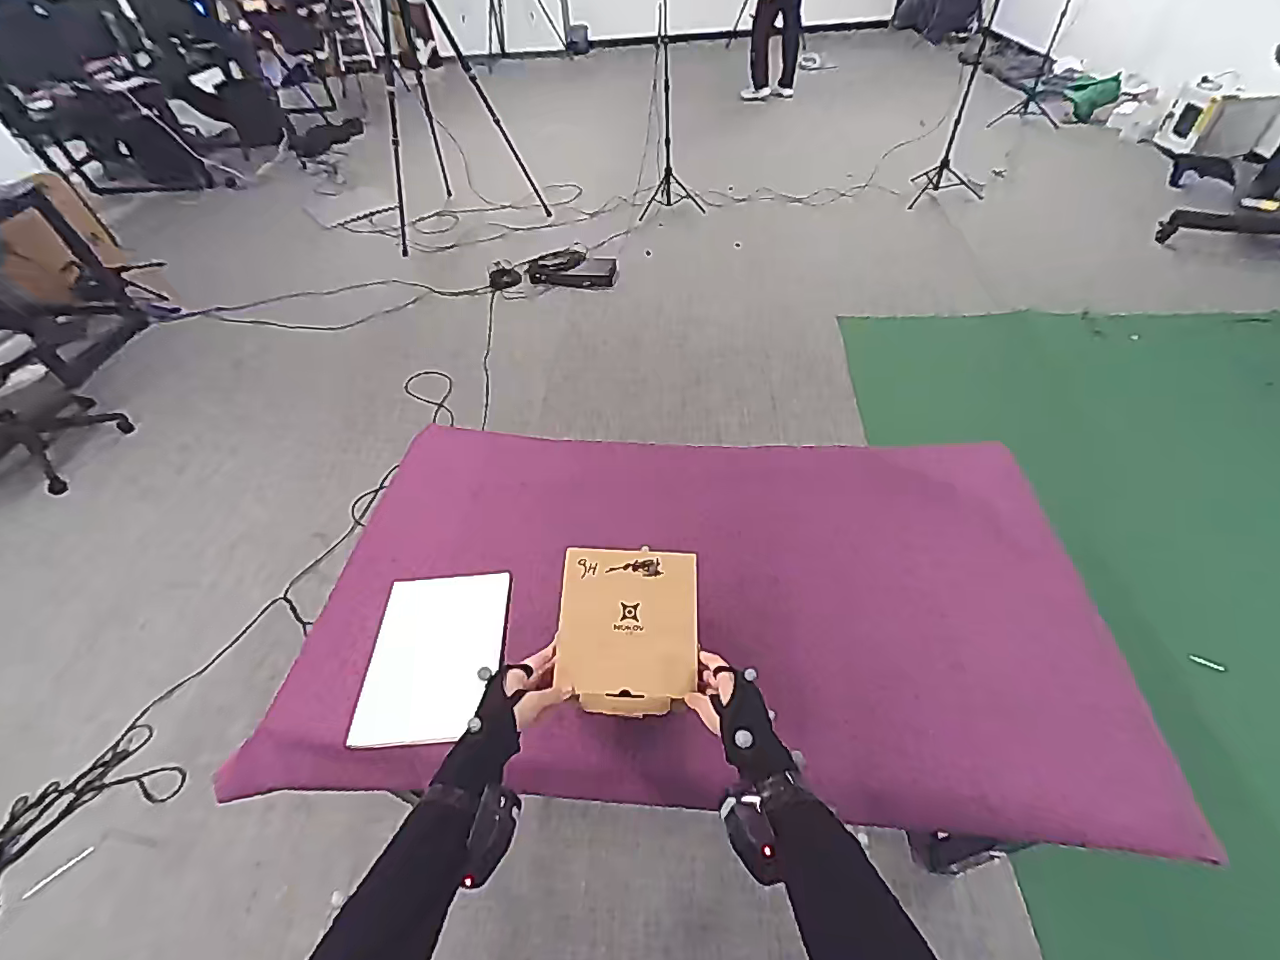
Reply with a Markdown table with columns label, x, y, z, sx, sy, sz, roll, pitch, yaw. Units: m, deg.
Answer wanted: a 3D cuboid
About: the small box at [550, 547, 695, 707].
| label | x | y | z | sx | sy | sz | roll | pitch | yaw |
| --- | --- | --- | --- | --- | --- | --- | --- | --- | --- |
| small box | -0.019 | 0.202 | 0.720 | 0.168 | 0.176 | 0.179 | 4 | 64 | -1 |
